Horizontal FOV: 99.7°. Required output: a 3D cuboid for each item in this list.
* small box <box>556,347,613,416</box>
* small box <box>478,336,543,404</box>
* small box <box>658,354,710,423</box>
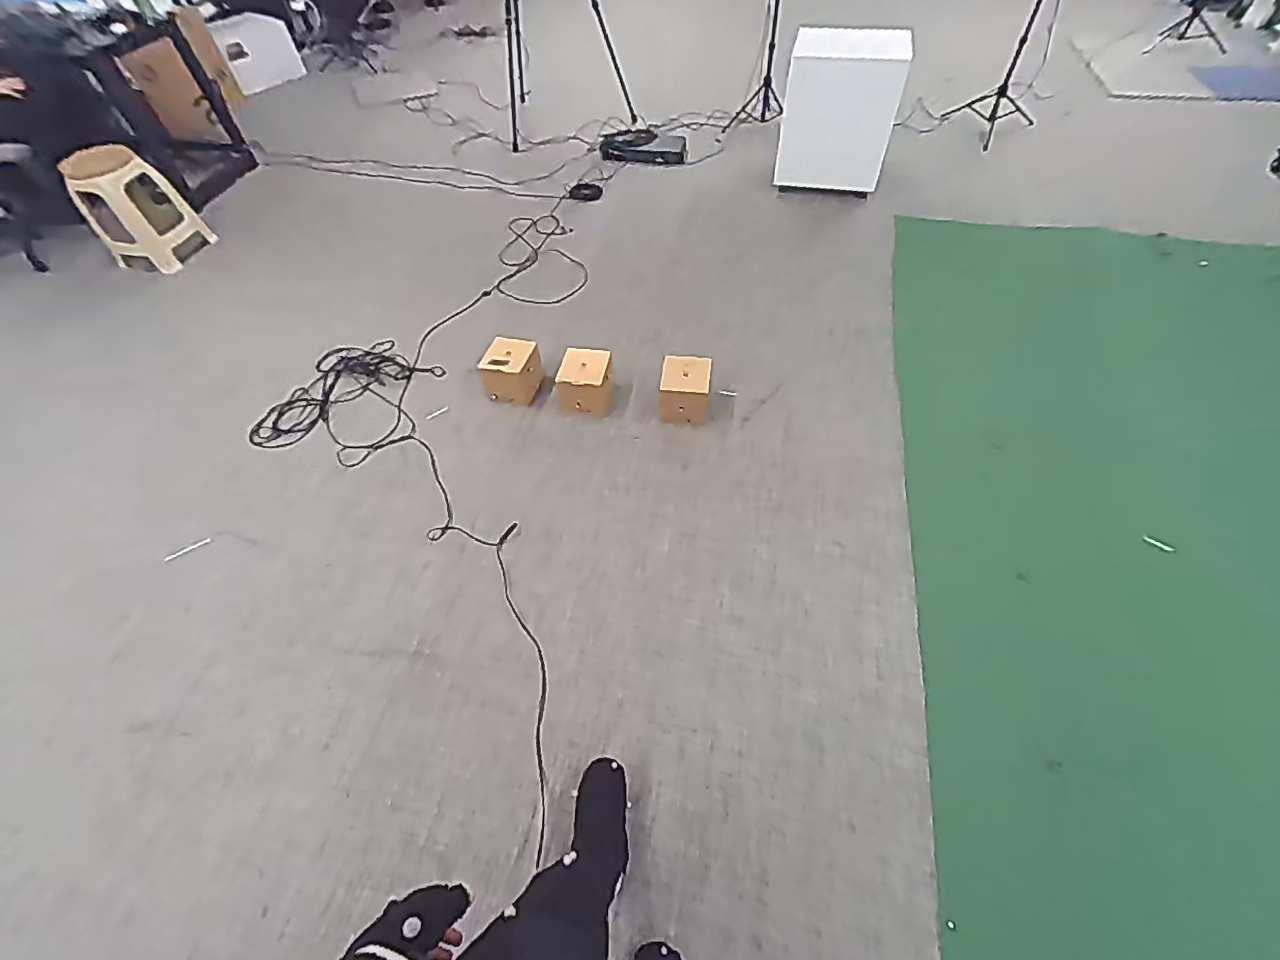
[{"bbox_3d":[-0.195,-0.360,1.979,0.168,0.176,0.179,7,55,8],"label":"small box"},{"bbox_3d":[-0.477,-0.410,2.030,0.168,0.176,0.179,11,55,11],"label":"small box"},{"bbox_3d":[0.159,-0.322,1.928,0.168,0.176,0.179,6,55,7],"label":"small box"}]
